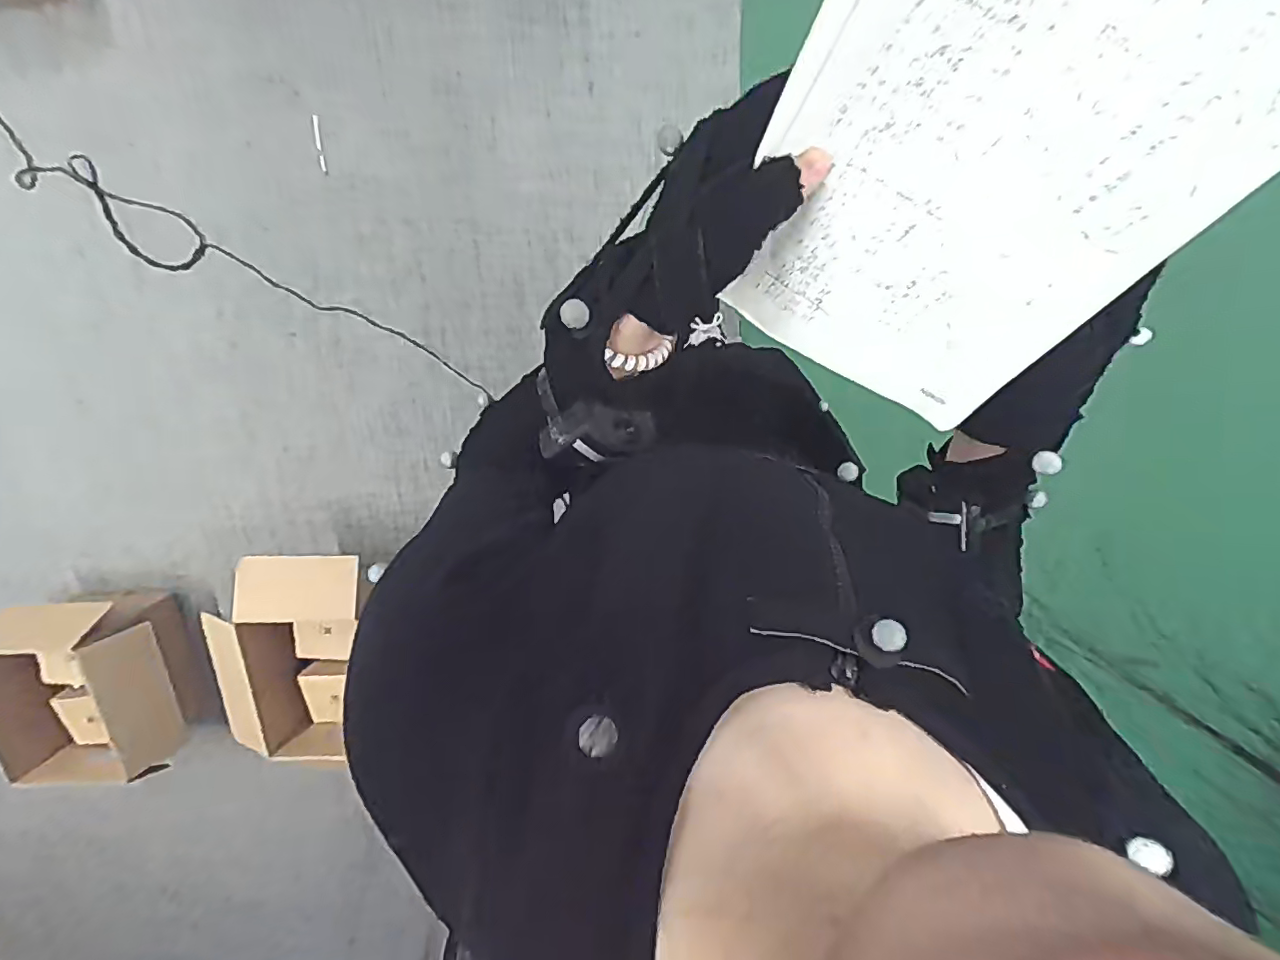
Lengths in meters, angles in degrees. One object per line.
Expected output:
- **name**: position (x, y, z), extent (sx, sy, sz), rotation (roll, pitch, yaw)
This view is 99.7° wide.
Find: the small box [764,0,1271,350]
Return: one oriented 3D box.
- **small box**: position (0.184, -0.214, 0.340), extent (0.168, 0.176, 0.179), rotation (19, 125, -2)
